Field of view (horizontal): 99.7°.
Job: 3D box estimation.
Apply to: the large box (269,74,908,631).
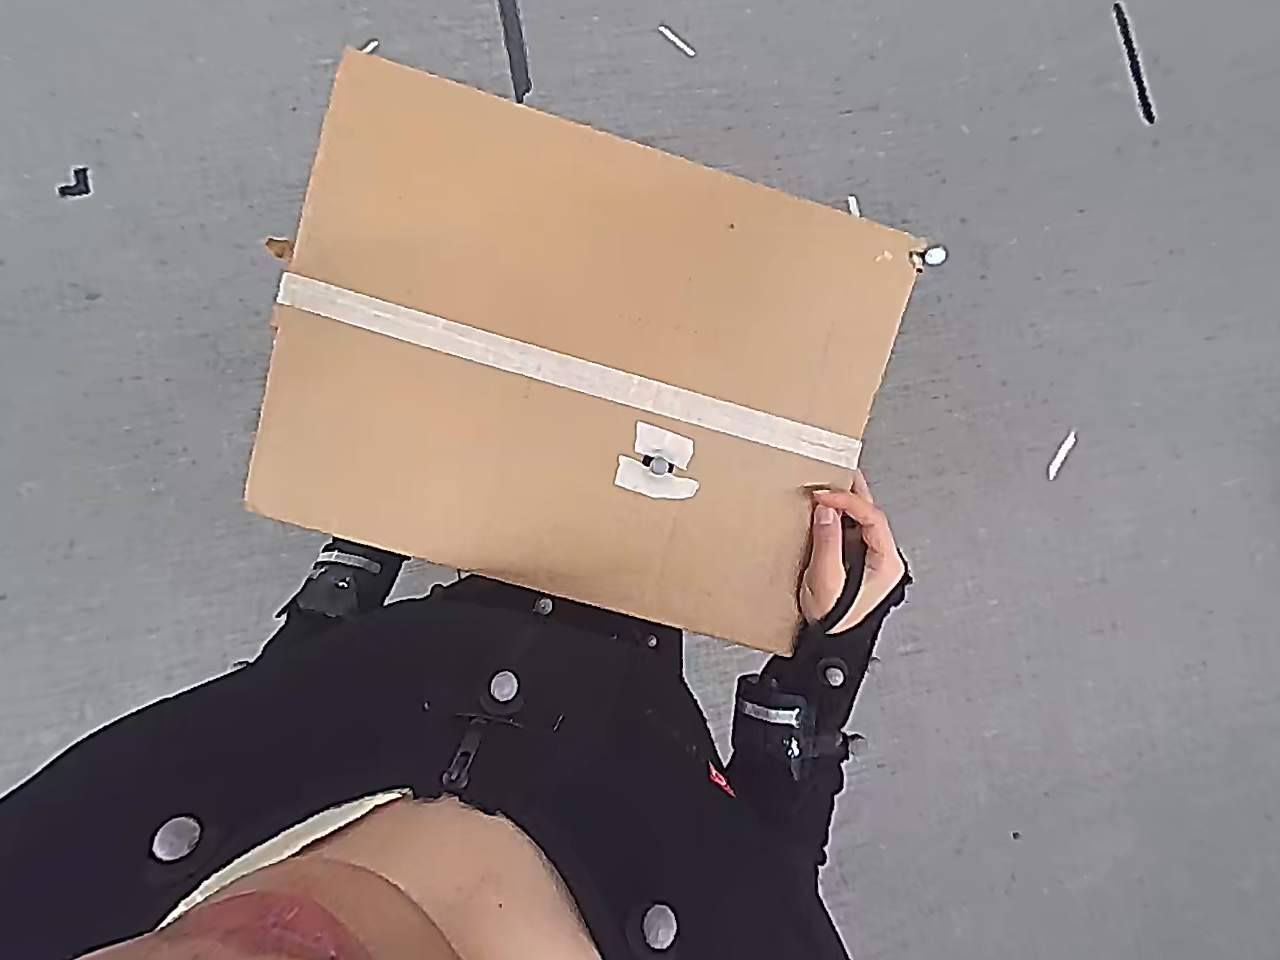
[{"bbox_3d":[-0.045,-0.091,0.530,0.408,0.320,0.320,15,96,-5],"label":"large box"}]
